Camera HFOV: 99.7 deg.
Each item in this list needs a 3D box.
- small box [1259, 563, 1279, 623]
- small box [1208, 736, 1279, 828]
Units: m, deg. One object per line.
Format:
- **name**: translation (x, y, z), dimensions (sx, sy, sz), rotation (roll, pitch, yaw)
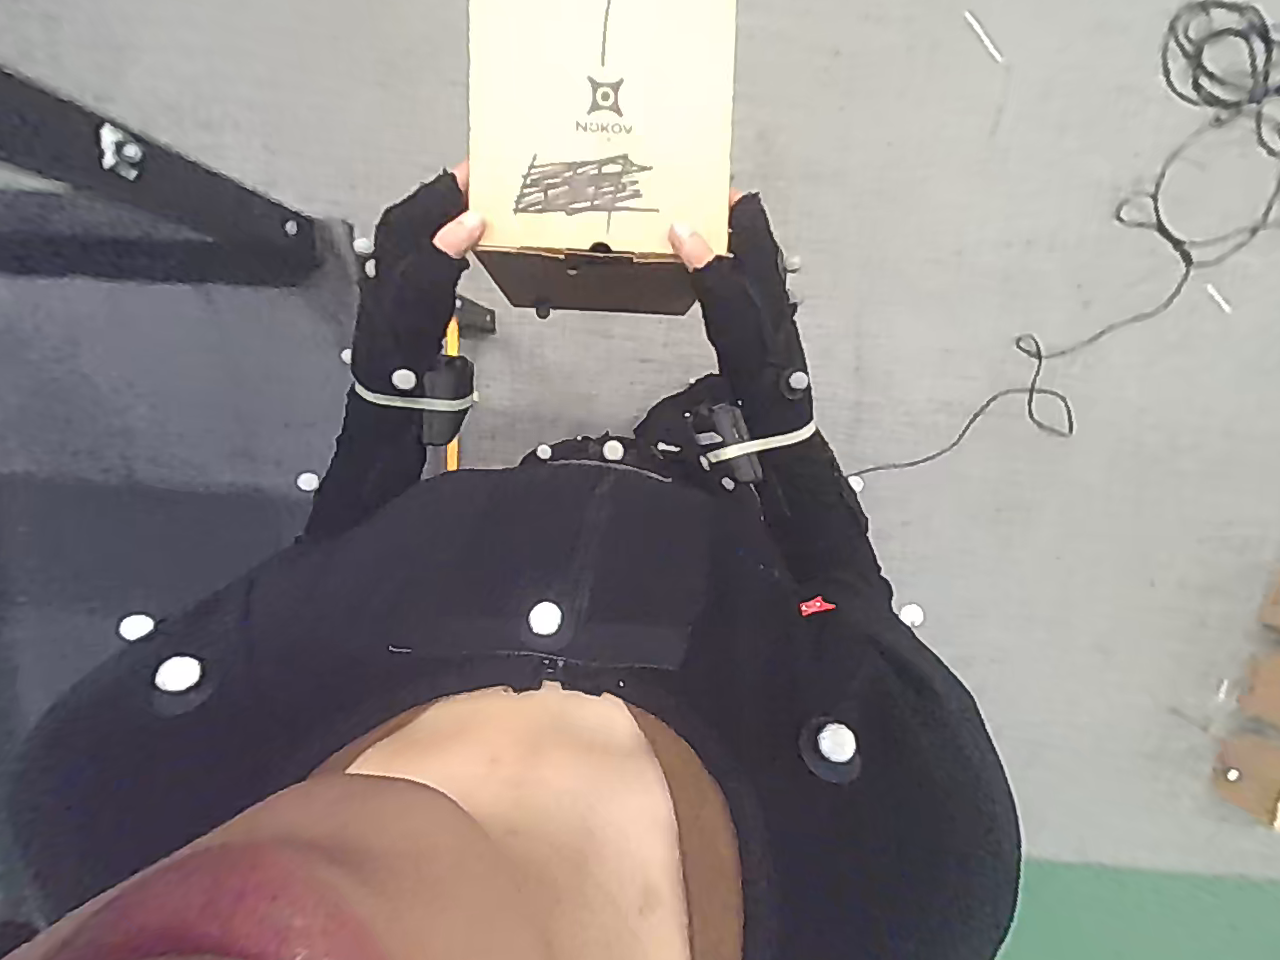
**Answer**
- **small box**: translation (1.819, 0.322, 1.418), dimensions (0.179, 0.176, 0.168), rotation (6, 99, 1)
- **small box**: translation (1.773, 0.842, 1.508), dimensions (0.179, 0.176, 0.168), rotation (6, 99, 1)
